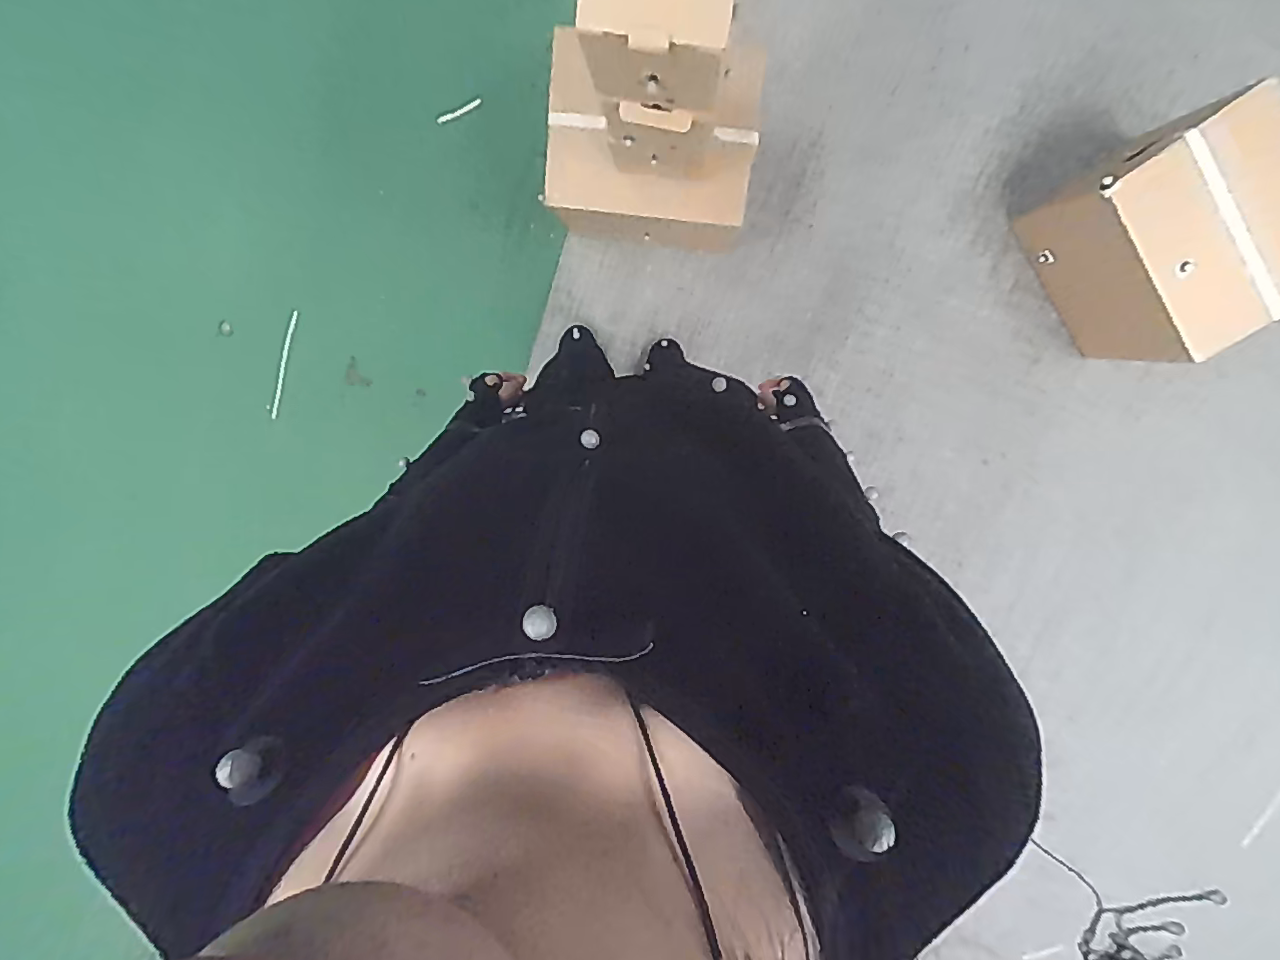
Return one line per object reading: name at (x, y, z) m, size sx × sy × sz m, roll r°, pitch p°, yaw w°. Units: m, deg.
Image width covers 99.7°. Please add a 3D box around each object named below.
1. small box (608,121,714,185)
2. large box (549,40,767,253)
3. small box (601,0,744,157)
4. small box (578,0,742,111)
small box at (0.051, -0.638, 0.948) m, size 0.179 × 0.176 × 0.168 m, roll 10°, pitch 105°, yaw 1°
large box at (0.042, -0.698, 1.187) m, size 0.408 × 0.320 × 0.320 m, roll 7°, pitch 103°, yaw 4°
small box at (0.050, -0.601, 0.789) m, size 0.168 × 0.176 × 0.179 m, roll 12°, pitch 105°, yaw 1°
small box at (0.034, -0.564, 0.629) m, size 0.168 × 0.176 × 0.179 m, roll 11°, pitch 106°, yaw 1°
